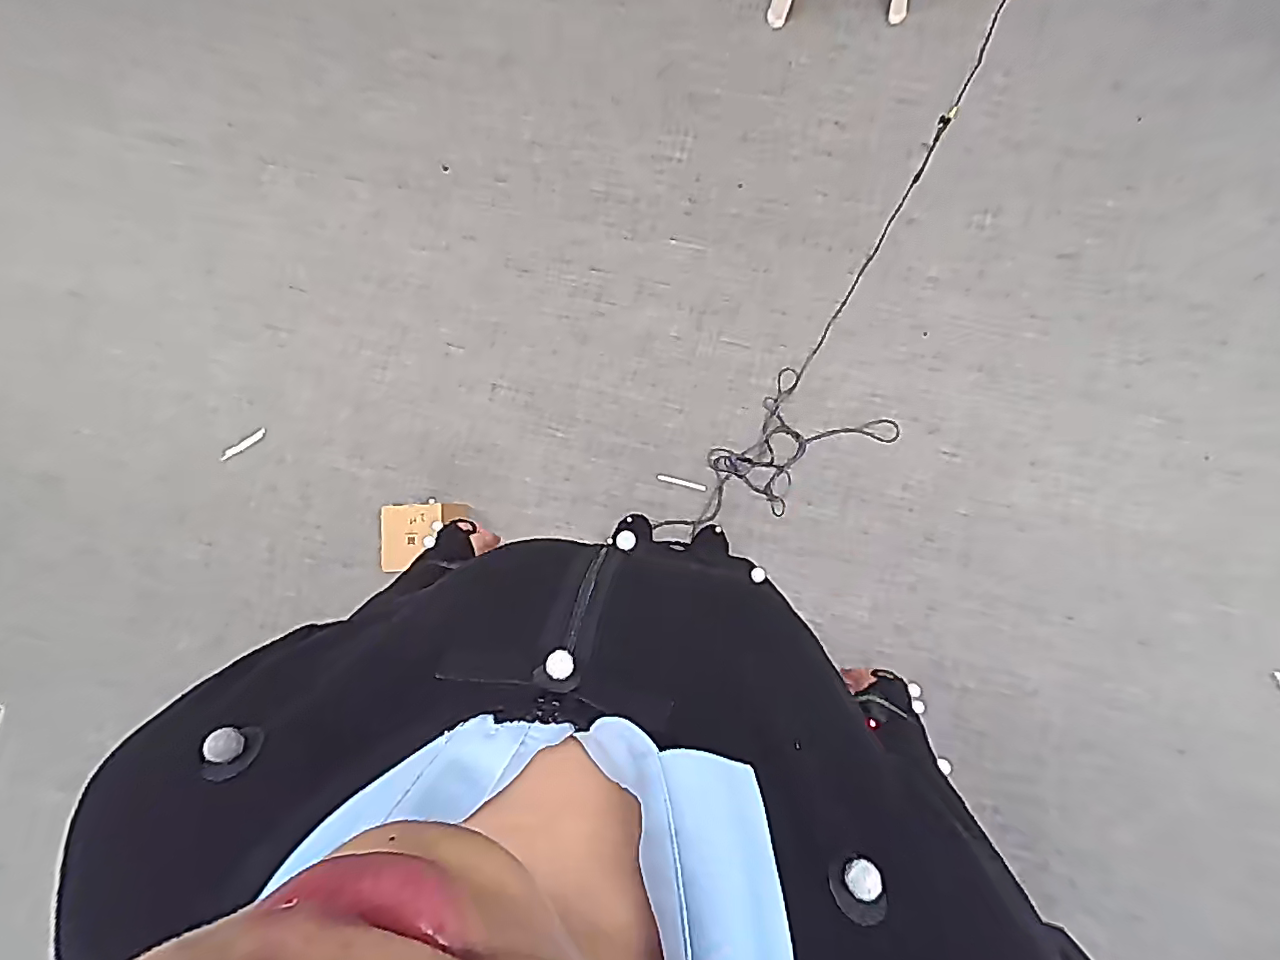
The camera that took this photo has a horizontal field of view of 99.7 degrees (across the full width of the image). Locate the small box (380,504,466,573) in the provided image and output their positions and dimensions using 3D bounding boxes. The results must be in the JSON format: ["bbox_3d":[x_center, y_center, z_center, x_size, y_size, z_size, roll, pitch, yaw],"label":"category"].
[{"bbox_3d":[-0.585,0.156,1.473,0.168,0.176,0.179,-2,85,5],"label":"small box"}]
